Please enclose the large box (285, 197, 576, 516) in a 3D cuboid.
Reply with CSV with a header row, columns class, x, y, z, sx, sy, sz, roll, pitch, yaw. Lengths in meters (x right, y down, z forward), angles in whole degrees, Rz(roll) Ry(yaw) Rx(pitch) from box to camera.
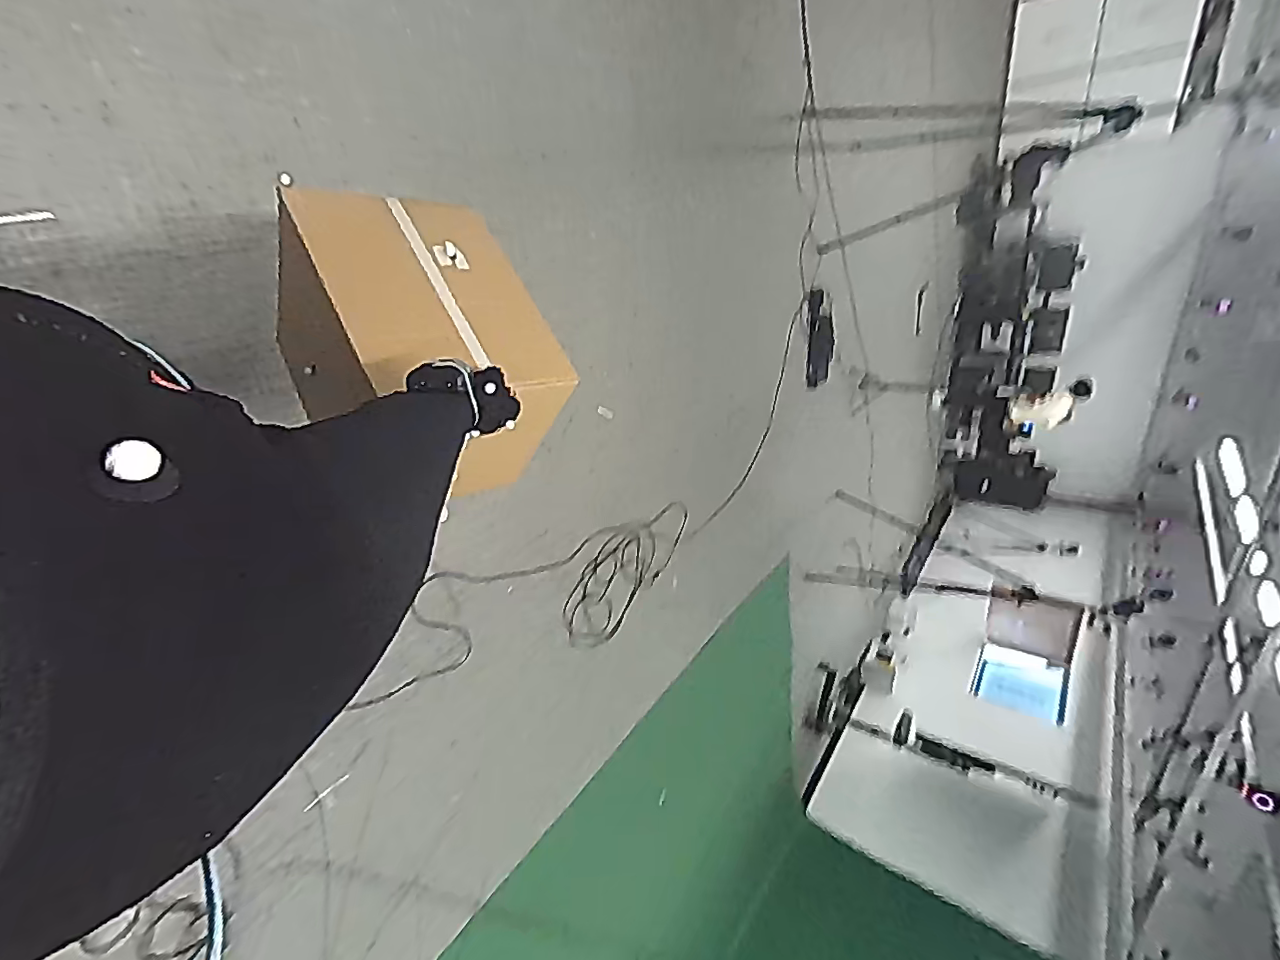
class,x,y,z,sx,sy,sz,roll,pitch,yaw
large box,-0.380,-0.209,0.941,0.320,0.408,0.320,-16,157,-42
